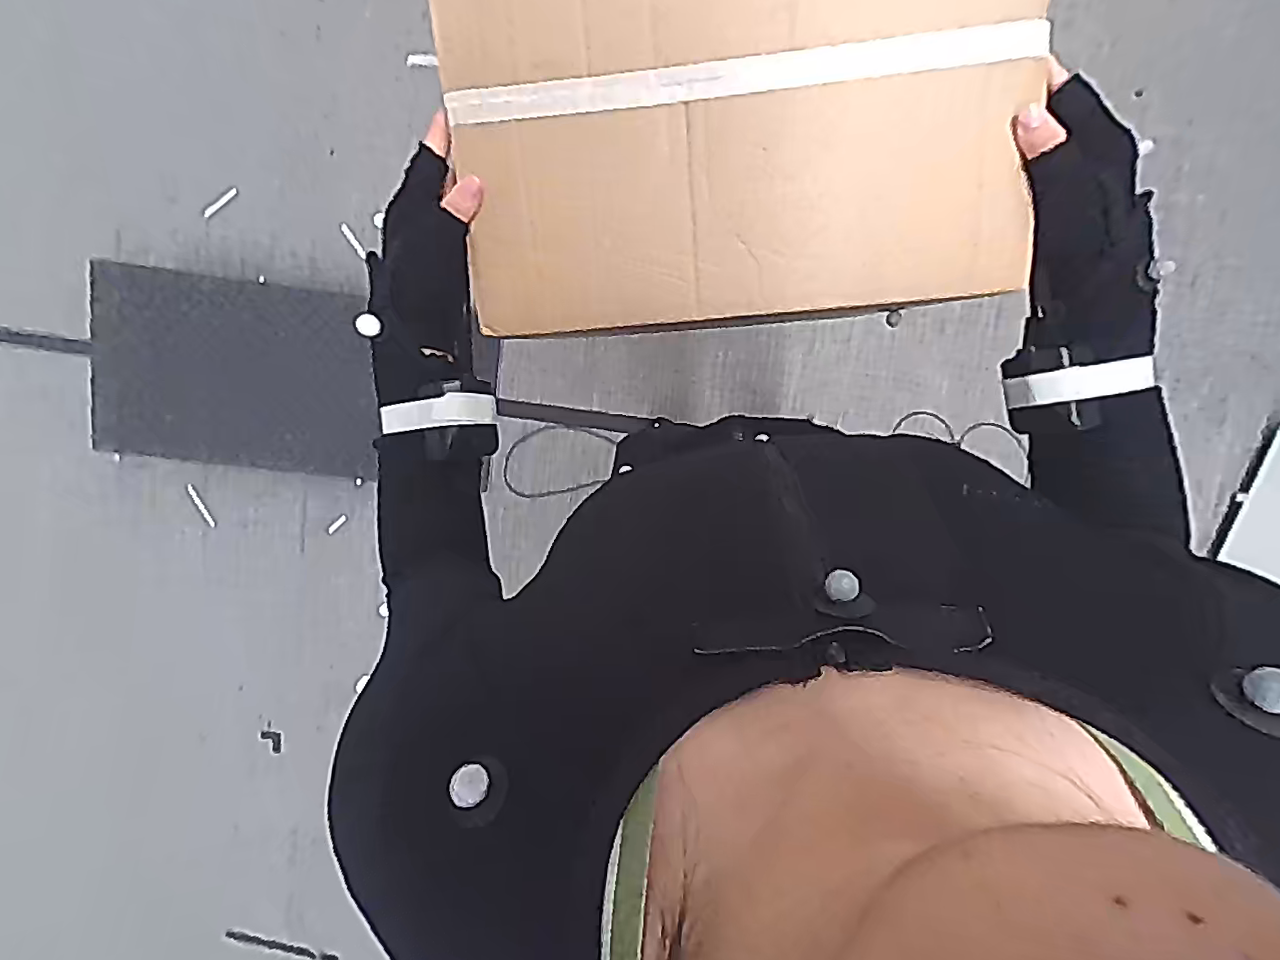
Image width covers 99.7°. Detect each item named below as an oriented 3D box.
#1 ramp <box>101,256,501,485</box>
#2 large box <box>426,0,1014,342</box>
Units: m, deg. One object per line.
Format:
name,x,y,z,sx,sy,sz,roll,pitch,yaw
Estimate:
ramp,-0.893,-0.277,1.453,0.991,0.206,0.509,6,97,4
large box,0.063,-0.316,0.526,0.408,0.320,0.320,-5,104,4
